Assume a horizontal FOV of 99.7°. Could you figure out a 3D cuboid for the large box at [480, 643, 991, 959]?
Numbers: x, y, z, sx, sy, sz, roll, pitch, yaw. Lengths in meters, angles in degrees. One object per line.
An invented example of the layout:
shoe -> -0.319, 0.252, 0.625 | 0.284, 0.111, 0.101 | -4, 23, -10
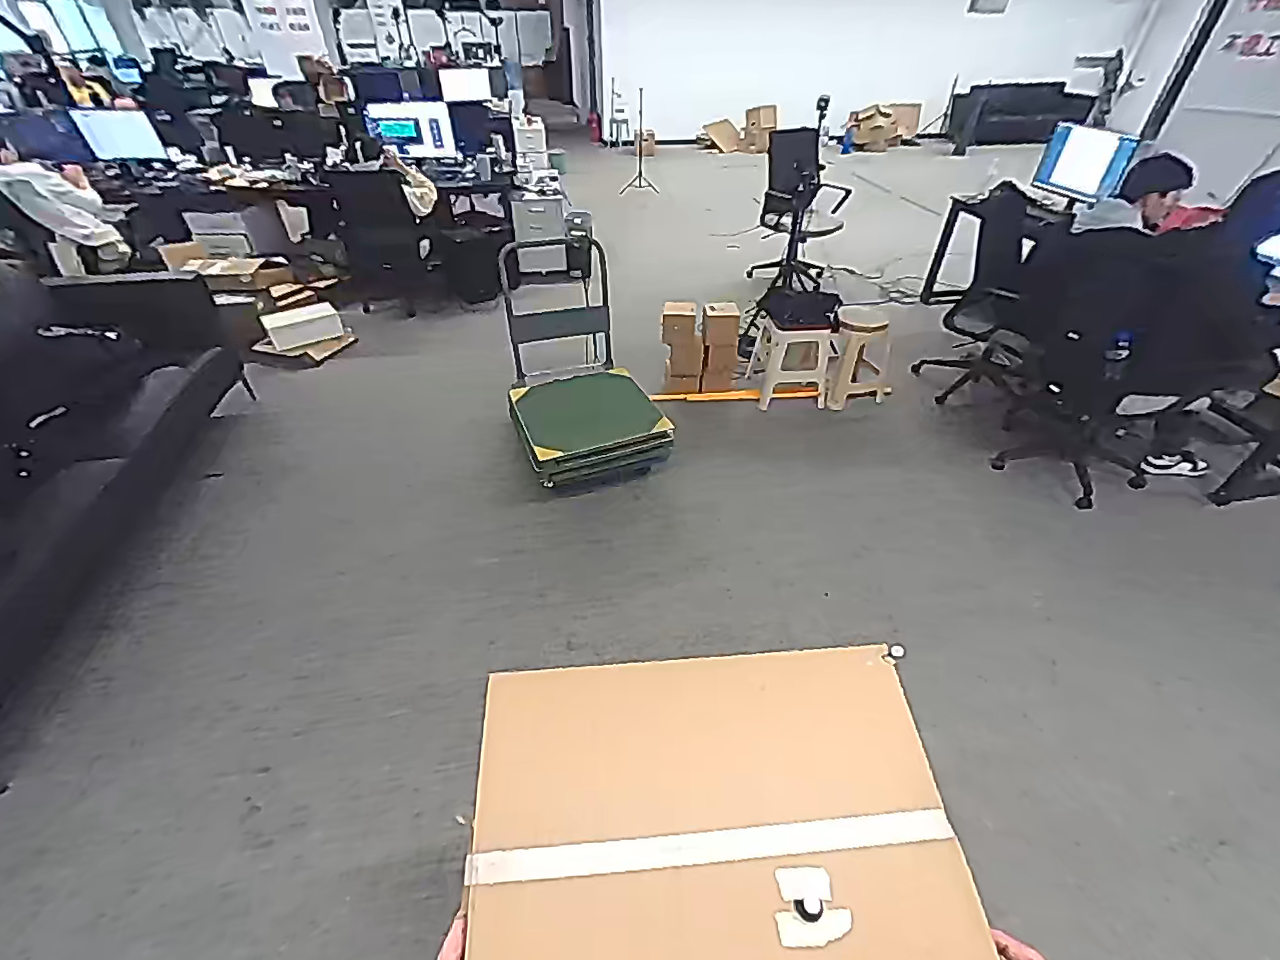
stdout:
large box -> 0.064, 0.397, 0.585 | 0.408, 0.320, 0.320 | -4, 55, -3
